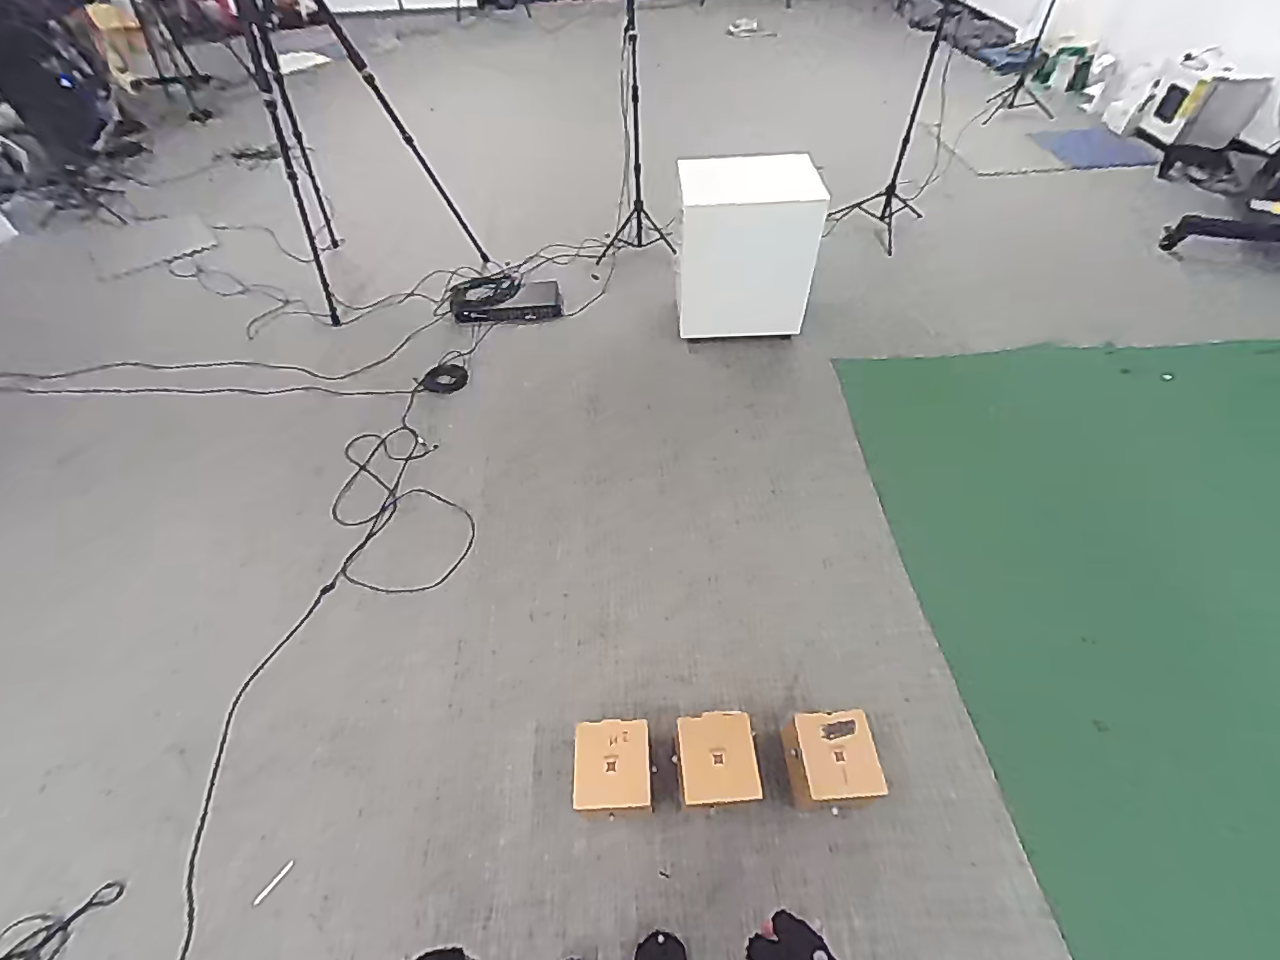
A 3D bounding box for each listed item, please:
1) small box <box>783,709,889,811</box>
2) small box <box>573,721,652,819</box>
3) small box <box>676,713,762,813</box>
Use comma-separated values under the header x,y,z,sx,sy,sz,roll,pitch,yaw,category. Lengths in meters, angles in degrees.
x,y,z,sx,sy,sz,roll,pitch,yaw,category
0.437,0.645,1.243,0.168,0.176,0.179,-4,52,-1,small box
-0.058,0.668,1.239,0.168,0.176,0.179,-2,51,-1,small box
0.174,0.656,1.243,0.168,0.176,0.179,-4,51,-2,small box
